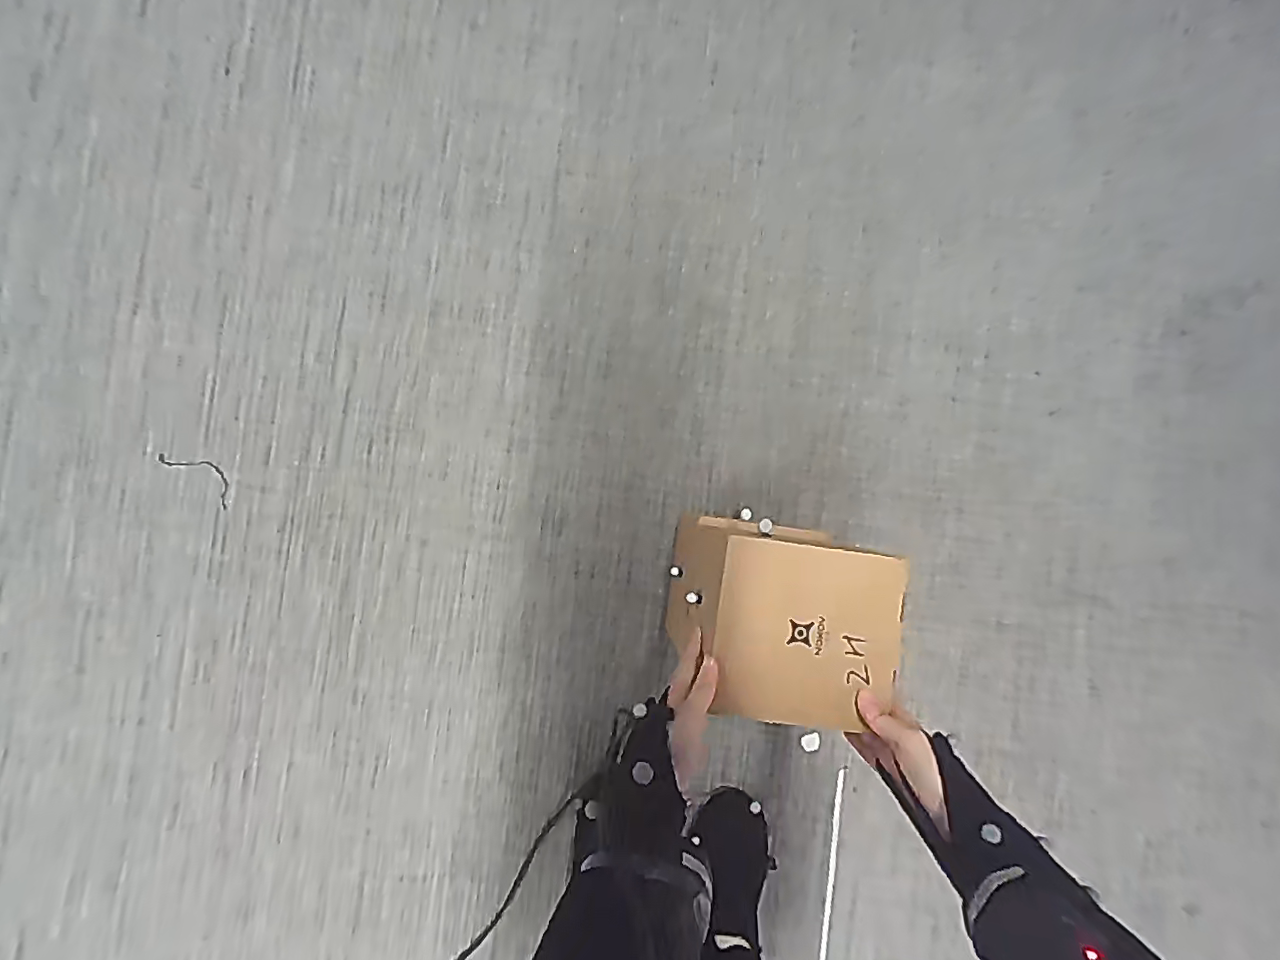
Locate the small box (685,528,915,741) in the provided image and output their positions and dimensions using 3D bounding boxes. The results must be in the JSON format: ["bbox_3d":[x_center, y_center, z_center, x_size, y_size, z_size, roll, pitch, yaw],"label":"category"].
[{"bbox_3d":[0.150,0.145,0.567,0.179,0.176,0.168,9,89,-4],"label":"small box"}]

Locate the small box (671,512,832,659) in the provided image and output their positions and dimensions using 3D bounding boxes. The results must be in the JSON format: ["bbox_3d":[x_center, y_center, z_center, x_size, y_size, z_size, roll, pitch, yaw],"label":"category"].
[{"bbox_3d":[0.138,0.142,0.731,0.168,0.176,0.179,8,87,-4],"label":"small box"}]
